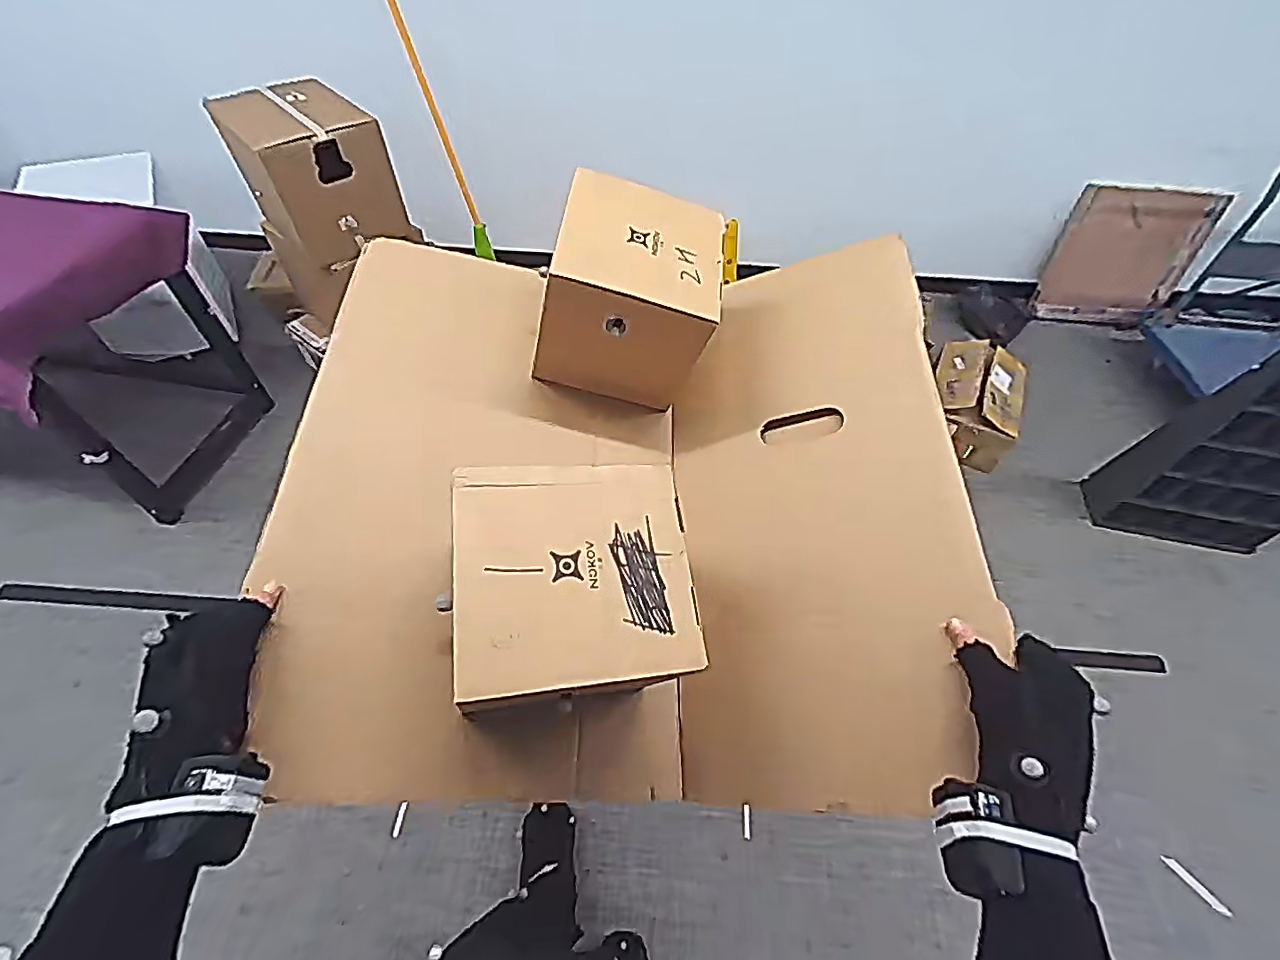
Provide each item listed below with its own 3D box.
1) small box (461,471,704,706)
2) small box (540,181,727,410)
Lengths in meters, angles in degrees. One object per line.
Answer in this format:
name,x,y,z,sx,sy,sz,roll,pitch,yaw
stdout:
small box,-0.065,0.101,0.478,0.179,0.176,0.168,-1,66,-17
small box,-0.013,-0.204,0.640,0.179,0.176,0.168,14,62,-11
